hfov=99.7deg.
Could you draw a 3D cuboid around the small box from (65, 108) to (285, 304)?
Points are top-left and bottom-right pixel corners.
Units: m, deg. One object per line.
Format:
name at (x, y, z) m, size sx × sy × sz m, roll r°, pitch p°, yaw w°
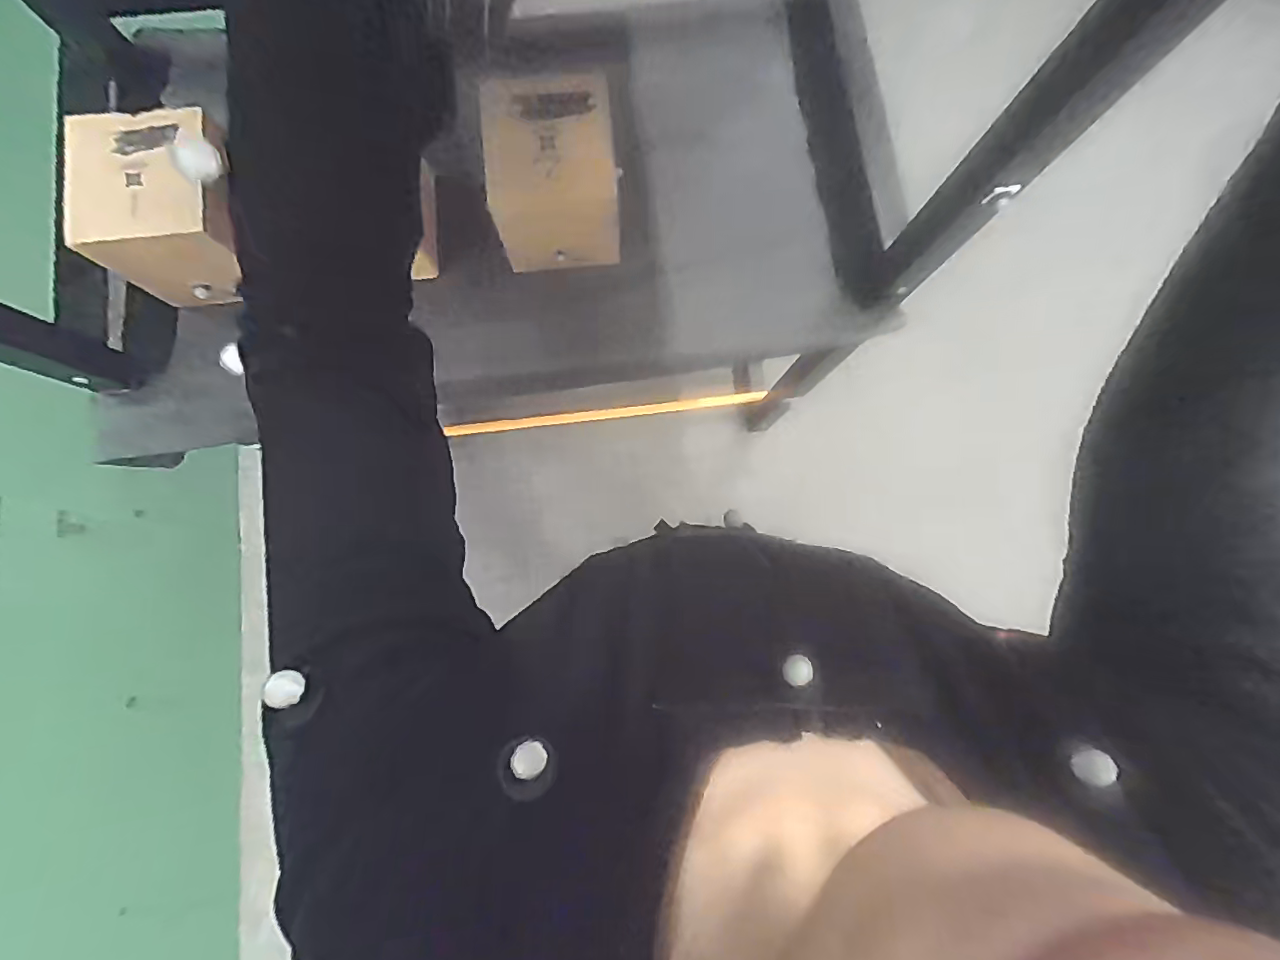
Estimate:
small box at (-0.622, -0.367, 0.747) m, size 0.168 × 0.176 × 0.179 m, roll -7°, pitch 82°, yaw -3°
